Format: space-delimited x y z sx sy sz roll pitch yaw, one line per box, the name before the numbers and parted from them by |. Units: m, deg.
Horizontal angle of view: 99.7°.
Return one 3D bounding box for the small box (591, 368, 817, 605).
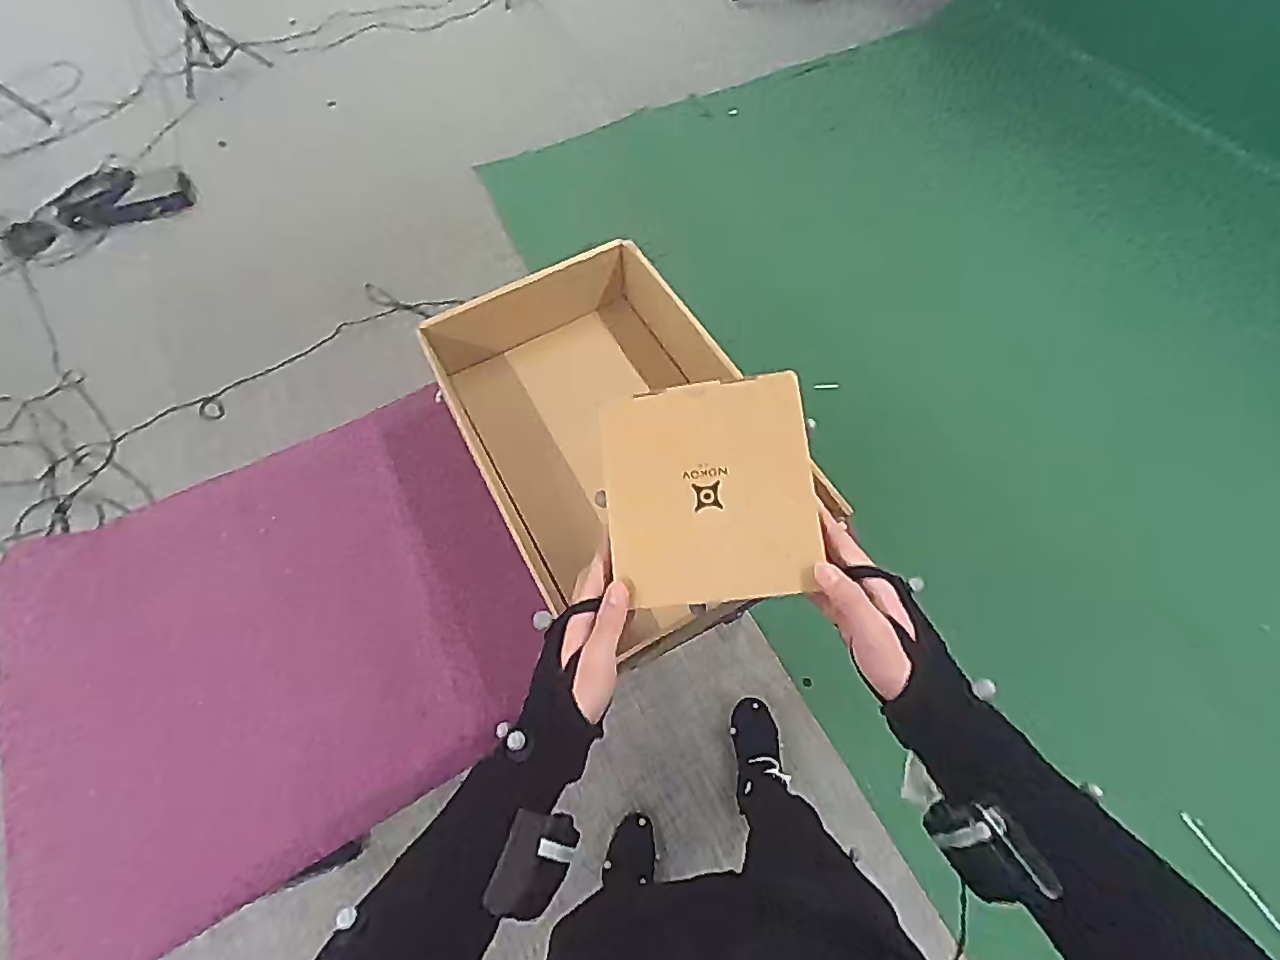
small box | 0.060 0.015 0.510 0.168 0.176 0.179 -8 80 7
